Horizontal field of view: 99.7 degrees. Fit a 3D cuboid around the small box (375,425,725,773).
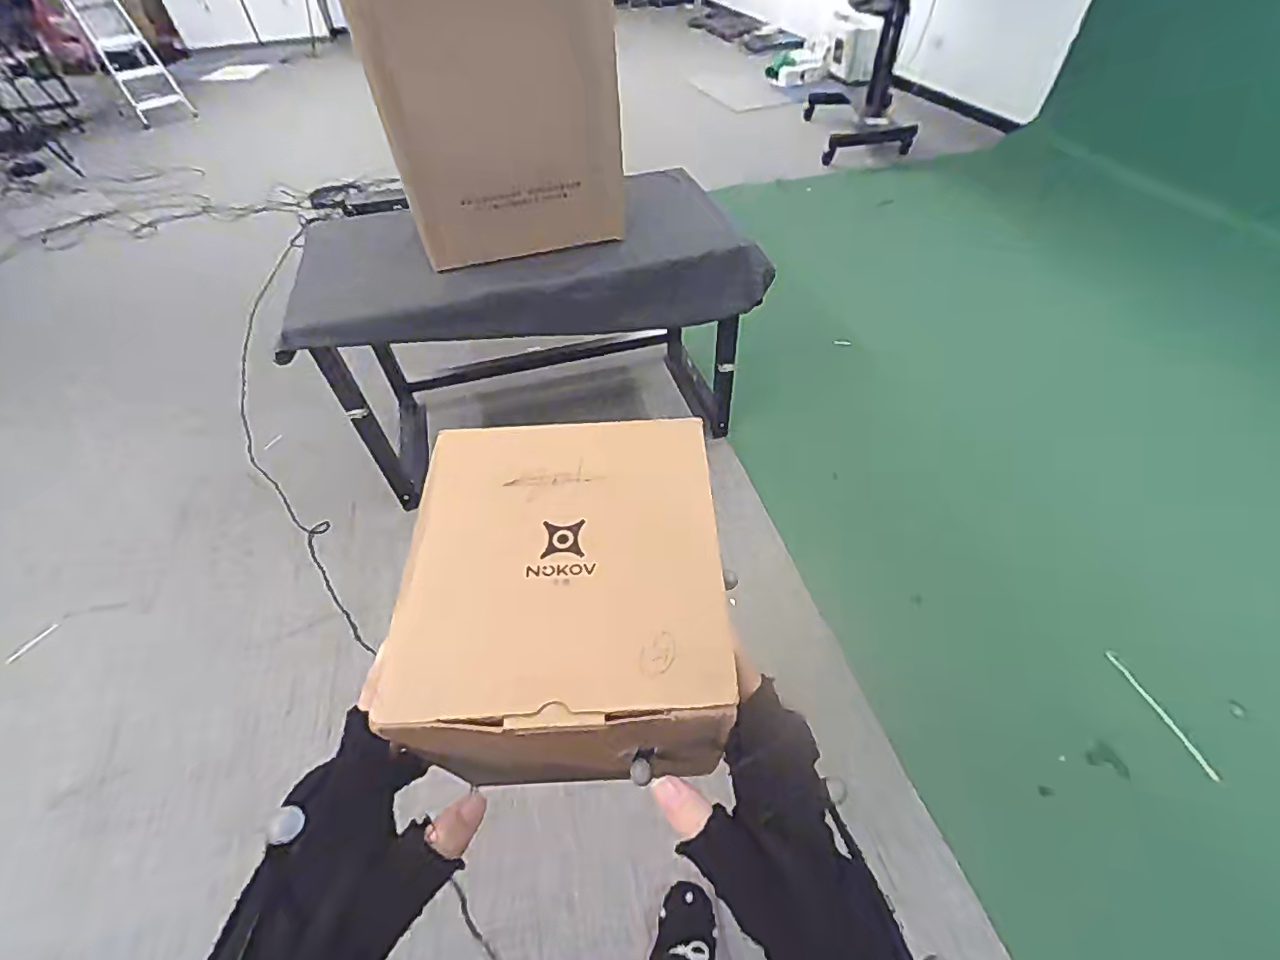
[{"bbox_3d":[-0.041,0.086,0.358,0.168,0.176,0.179,-3,53,0],"label":"small box"}]
